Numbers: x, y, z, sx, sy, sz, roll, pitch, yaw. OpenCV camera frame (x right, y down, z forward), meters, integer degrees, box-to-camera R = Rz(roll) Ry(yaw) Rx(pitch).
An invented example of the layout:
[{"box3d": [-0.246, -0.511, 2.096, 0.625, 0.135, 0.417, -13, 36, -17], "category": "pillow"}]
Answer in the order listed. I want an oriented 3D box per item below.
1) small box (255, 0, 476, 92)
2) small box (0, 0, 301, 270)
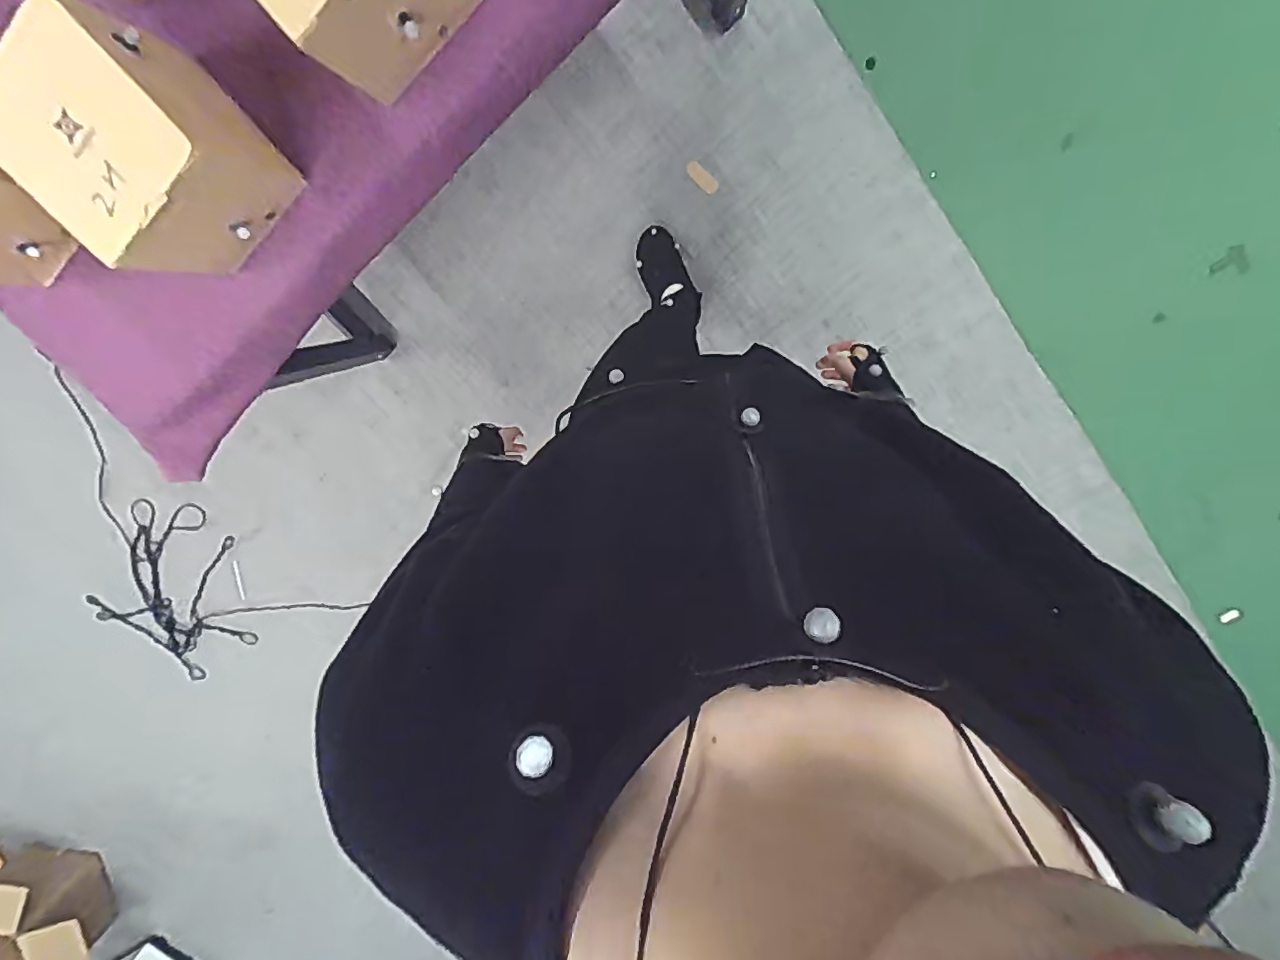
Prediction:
[{"box3d": [-0.287, -0.515, 0.514, 0.168, 0.176, 0.179, -37, 102, 14], "category": "small box"}, {"box3d": [-0.526, -0.348, 0.583, 0.168, 0.176, 0.179, -37, 103, 15], "category": "small box"}]
